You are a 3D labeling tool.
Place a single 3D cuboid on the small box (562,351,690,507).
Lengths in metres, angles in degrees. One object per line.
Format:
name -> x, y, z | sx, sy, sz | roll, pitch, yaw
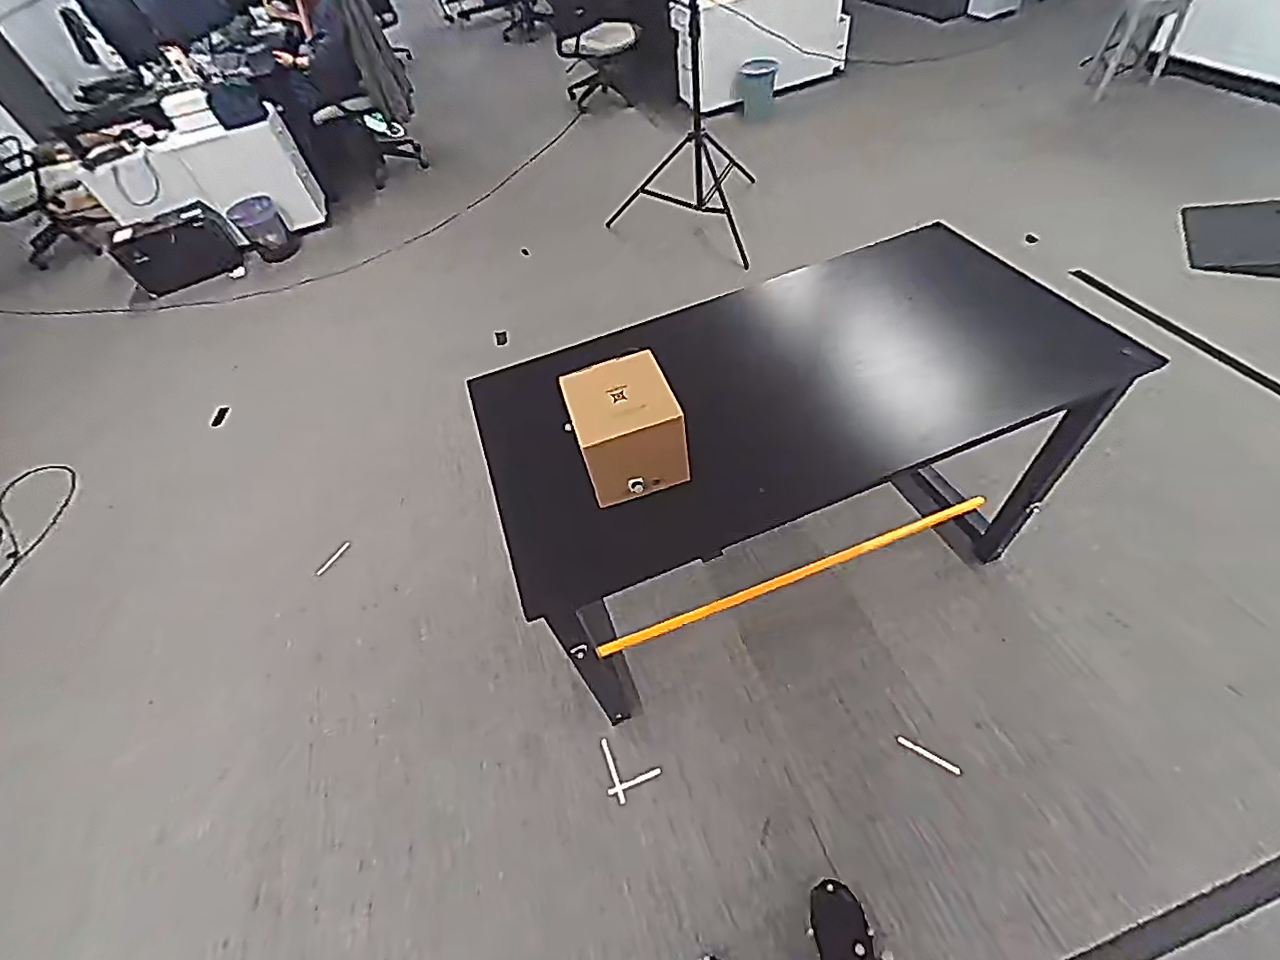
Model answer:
small box -> -0.021, -0.084, 0.927 | 0.168, 0.176, 0.179 | -19, 53, -4
